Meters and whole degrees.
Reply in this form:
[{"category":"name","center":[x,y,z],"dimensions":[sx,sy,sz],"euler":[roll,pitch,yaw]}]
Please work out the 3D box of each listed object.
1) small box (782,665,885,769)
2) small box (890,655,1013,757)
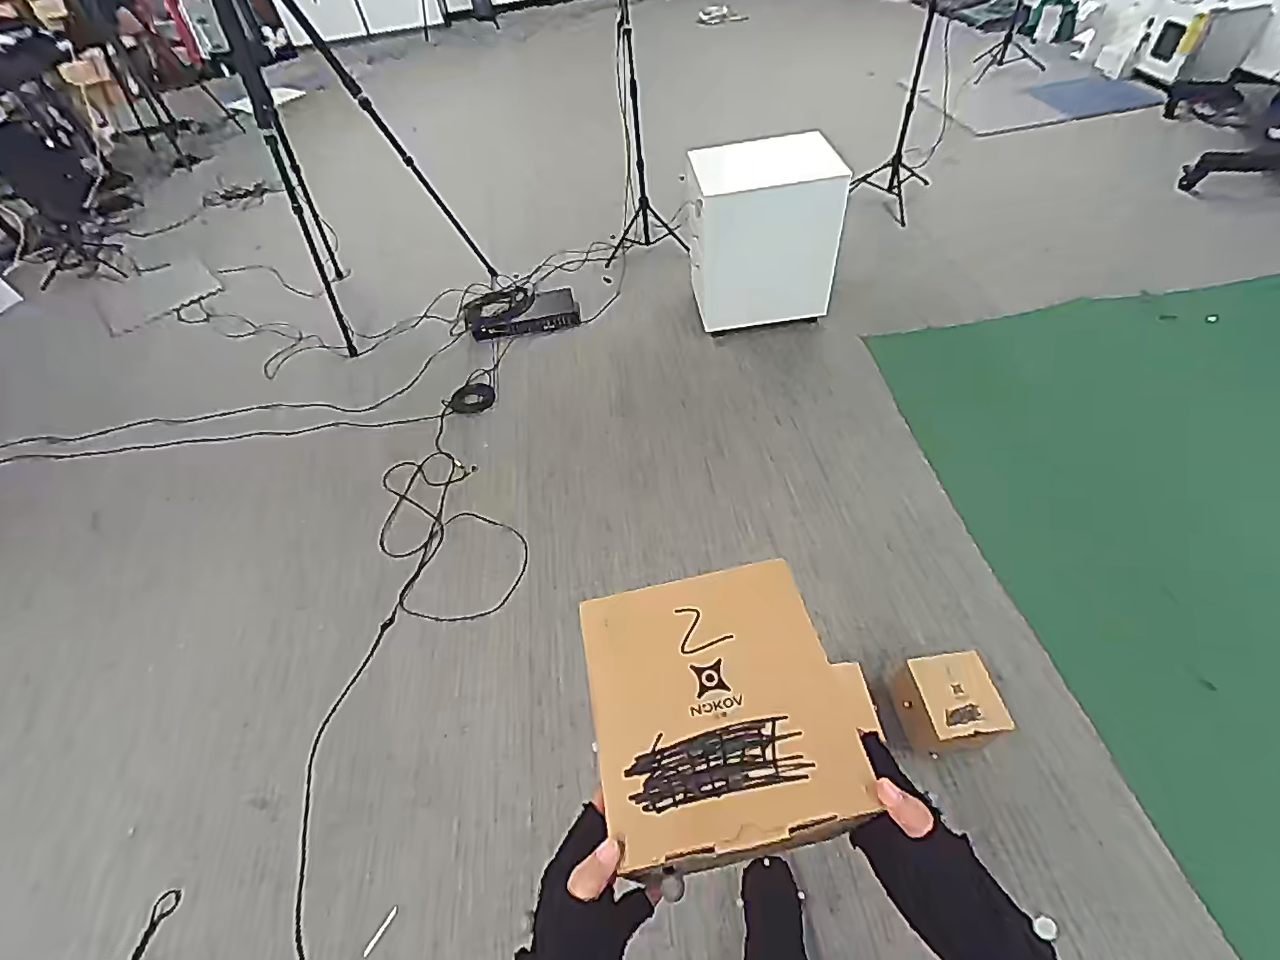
[{"category":"small box","center":[0.440,0.555,1.264],"dimensions":[0.168,0.176,0.179],"euler":[-7,51,1]},{"category":"small box","center":[0.708,0.528,1.252],"dimensions":[0.168,0.176,0.179],"euler":[-8,50,1]}]
